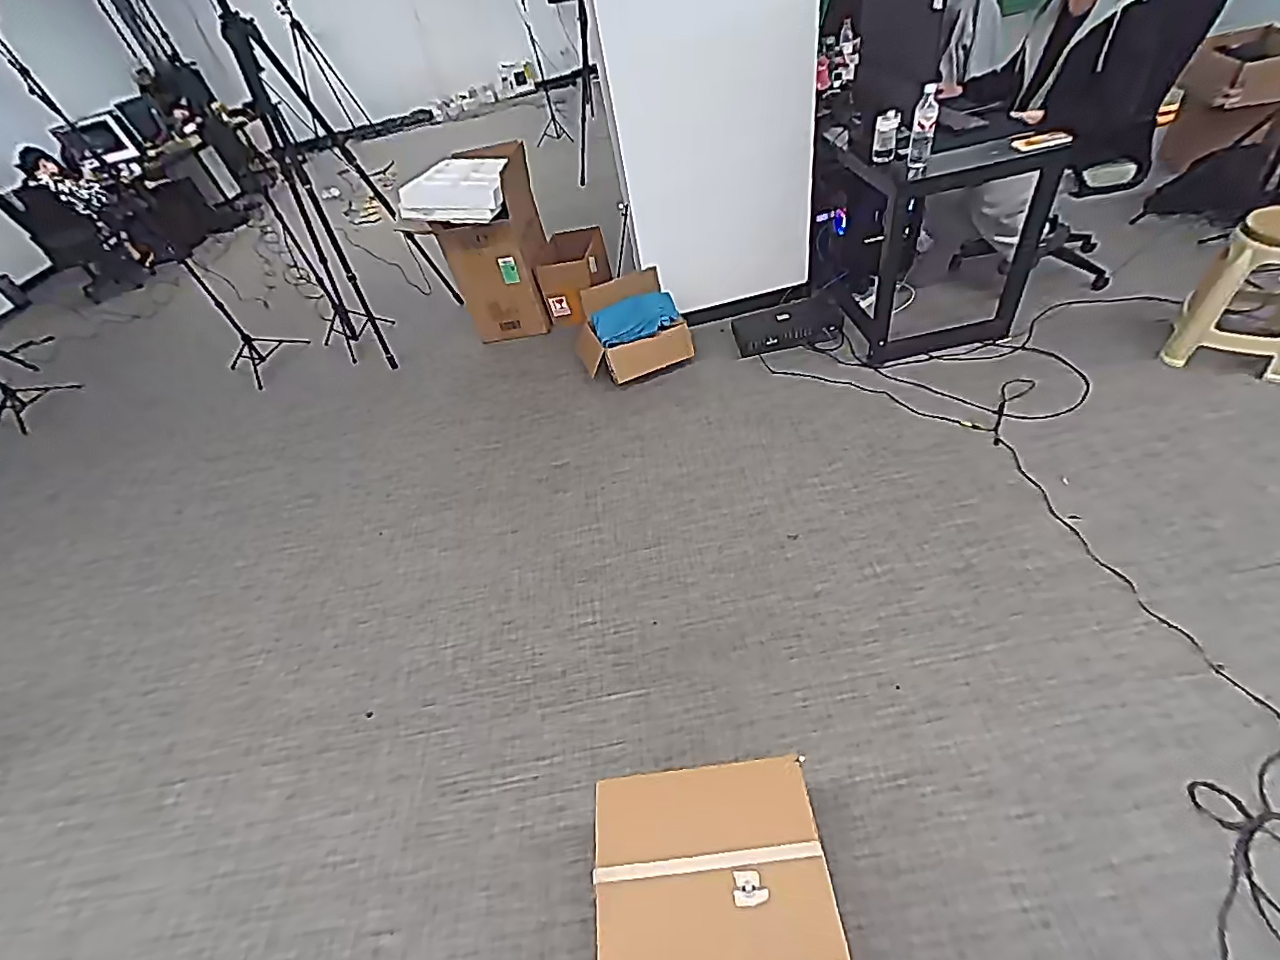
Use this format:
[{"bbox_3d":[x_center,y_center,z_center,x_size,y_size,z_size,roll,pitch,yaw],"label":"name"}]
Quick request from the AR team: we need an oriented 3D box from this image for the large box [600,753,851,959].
[{"bbox_3d":[0.150,0.779,1.063,0.408,0.320,0.320,-10,45,4],"label":"large box"}]
